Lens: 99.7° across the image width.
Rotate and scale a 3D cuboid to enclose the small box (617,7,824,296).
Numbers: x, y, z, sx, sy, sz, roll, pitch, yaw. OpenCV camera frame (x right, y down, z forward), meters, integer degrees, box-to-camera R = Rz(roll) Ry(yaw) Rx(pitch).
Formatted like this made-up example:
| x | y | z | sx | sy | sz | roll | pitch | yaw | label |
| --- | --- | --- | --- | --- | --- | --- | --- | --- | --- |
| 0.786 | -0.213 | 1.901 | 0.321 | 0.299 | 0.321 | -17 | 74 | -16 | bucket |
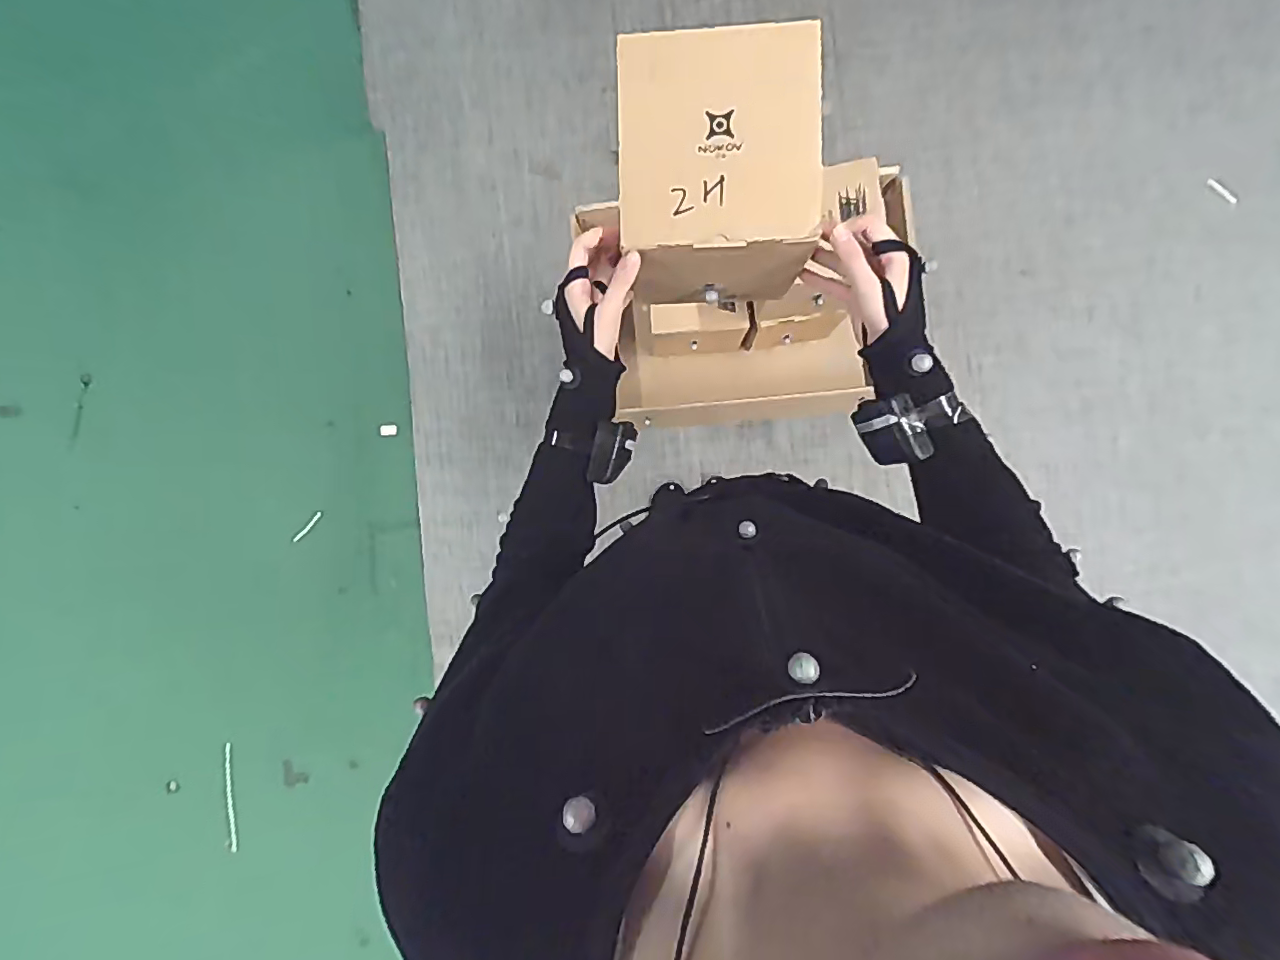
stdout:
| x | y | z | sx | sy | sz | roll | pitch | yaw | label |
| --- | --- | --- | --- | --- | --- | --- | --- | --- | --- |
| 0.069 | -0.288 | 0.512 | 0.168 | 0.176 | 0.179 | 0 | 92 | 5 | small box |
